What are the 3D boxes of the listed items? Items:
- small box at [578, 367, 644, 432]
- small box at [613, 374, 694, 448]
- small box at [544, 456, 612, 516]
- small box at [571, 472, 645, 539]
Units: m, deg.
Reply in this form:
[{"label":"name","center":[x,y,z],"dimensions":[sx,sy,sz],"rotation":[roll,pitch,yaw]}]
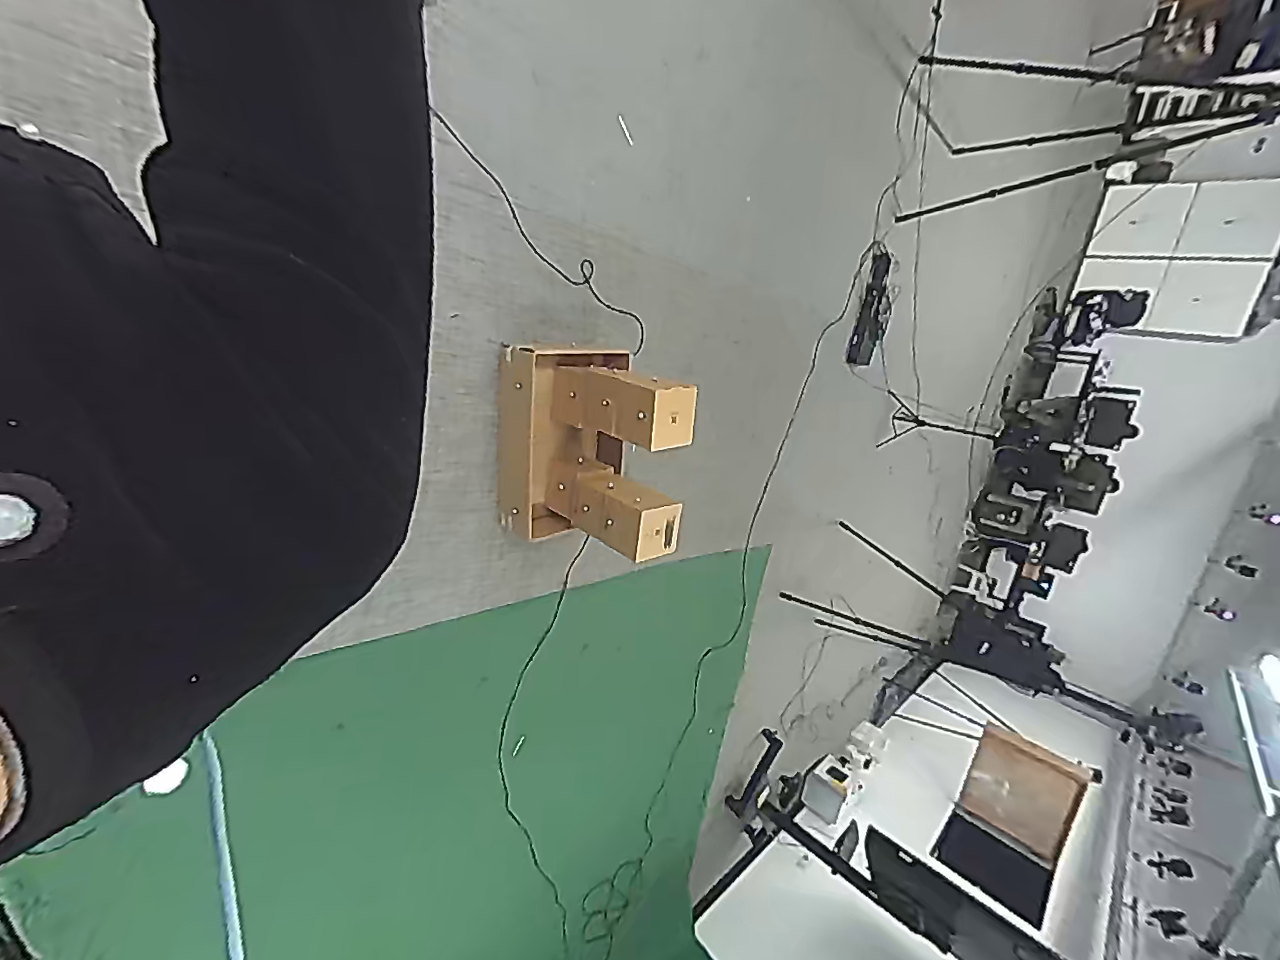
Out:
[{"label":"small box","center":[-0.077,-0.254,1.684],"dimensions":[0.168,0.176,0.179],"rotation":[-8,113,-43]},{"label":"small box","center":[0.034,-0.207,1.575],"dimensions":[0.168,0.176,0.179],"rotation":[-14,115,-40]},{"label":"small box","center":[-0.220,0.017,1.895],"dimensions":[0.168,0.176,0.179],"rotation":[-9,112,-44]},{"label":"small box","center":[-0.109,0.078,1.789],"dimensions":[0.179,0.176,0.168],"rotation":[-9,114,-44]}]
